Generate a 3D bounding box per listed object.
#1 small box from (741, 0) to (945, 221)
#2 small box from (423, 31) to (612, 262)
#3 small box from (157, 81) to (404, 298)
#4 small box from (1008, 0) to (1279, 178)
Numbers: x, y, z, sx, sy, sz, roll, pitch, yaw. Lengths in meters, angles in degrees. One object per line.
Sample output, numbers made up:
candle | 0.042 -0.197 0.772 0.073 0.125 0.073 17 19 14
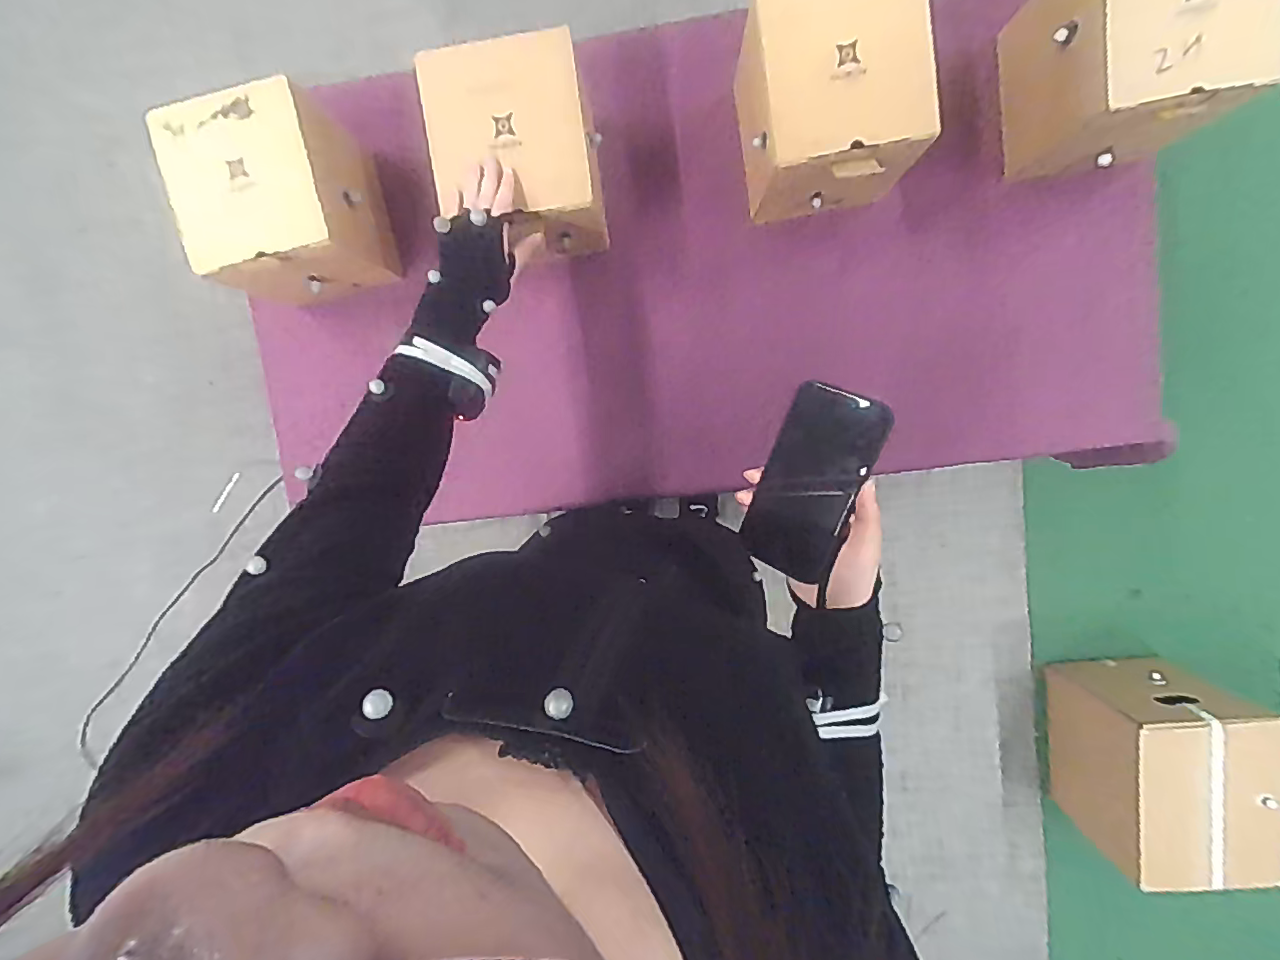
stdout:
small box | 0.215 -0.424 0.613 0.168 0.176 0.179 -9 97 5
small box | -0.130 -0.372 0.642 0.168 0.176 0.179 -7 97 3
small box | -0.419 -0.333 0.664 0.168 0.176 0.179 -11 97 4
small box | 0.530 -0.461 0.584 0.168 0.176 0.179 -6 97 6
